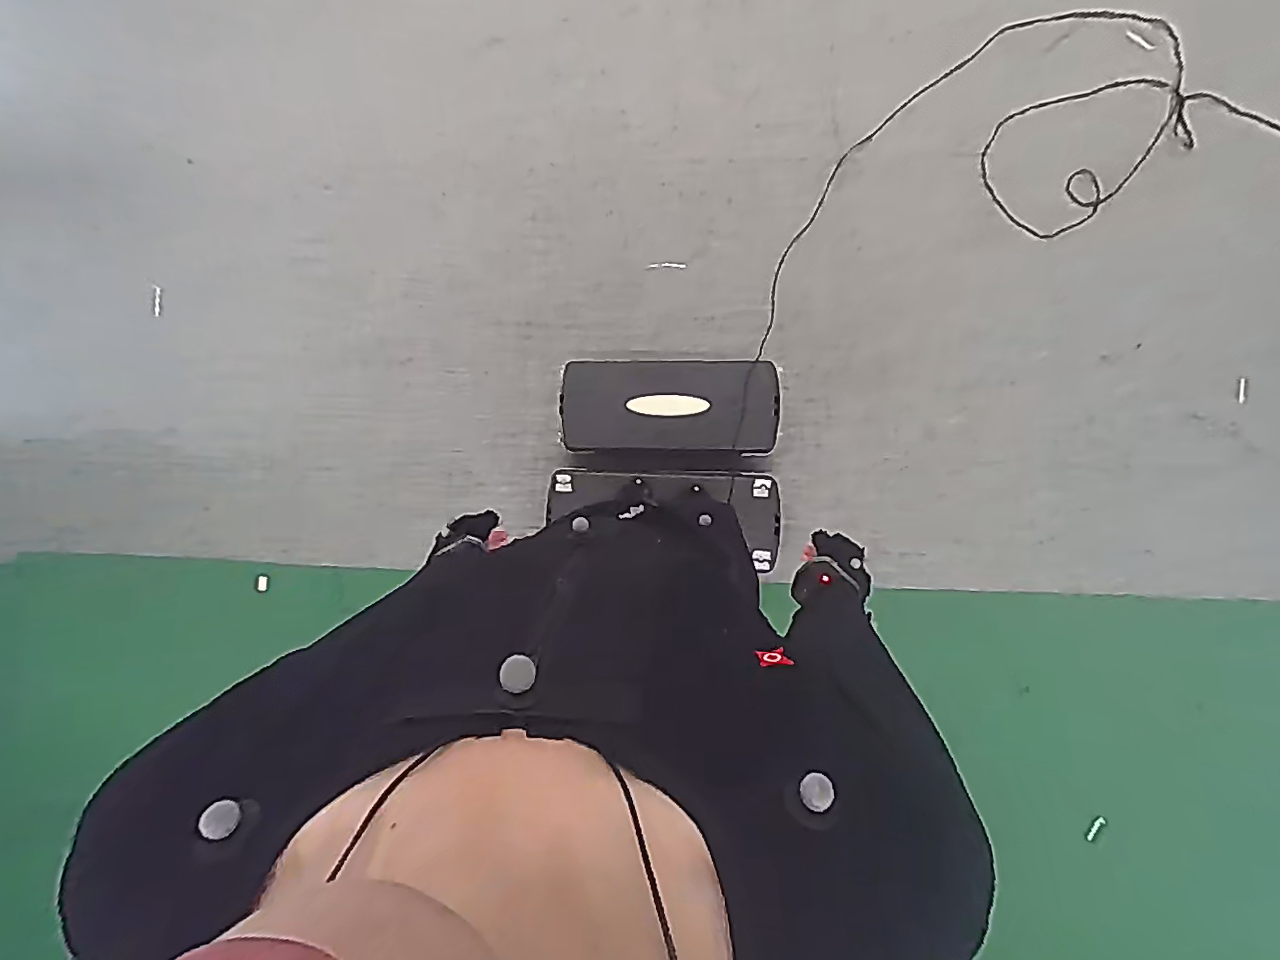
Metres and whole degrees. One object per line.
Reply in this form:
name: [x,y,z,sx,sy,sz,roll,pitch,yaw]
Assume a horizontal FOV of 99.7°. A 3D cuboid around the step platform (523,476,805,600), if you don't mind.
step platform: [0.058,0.139,1.395,0.684,0.204,0.286,1,89,3]
